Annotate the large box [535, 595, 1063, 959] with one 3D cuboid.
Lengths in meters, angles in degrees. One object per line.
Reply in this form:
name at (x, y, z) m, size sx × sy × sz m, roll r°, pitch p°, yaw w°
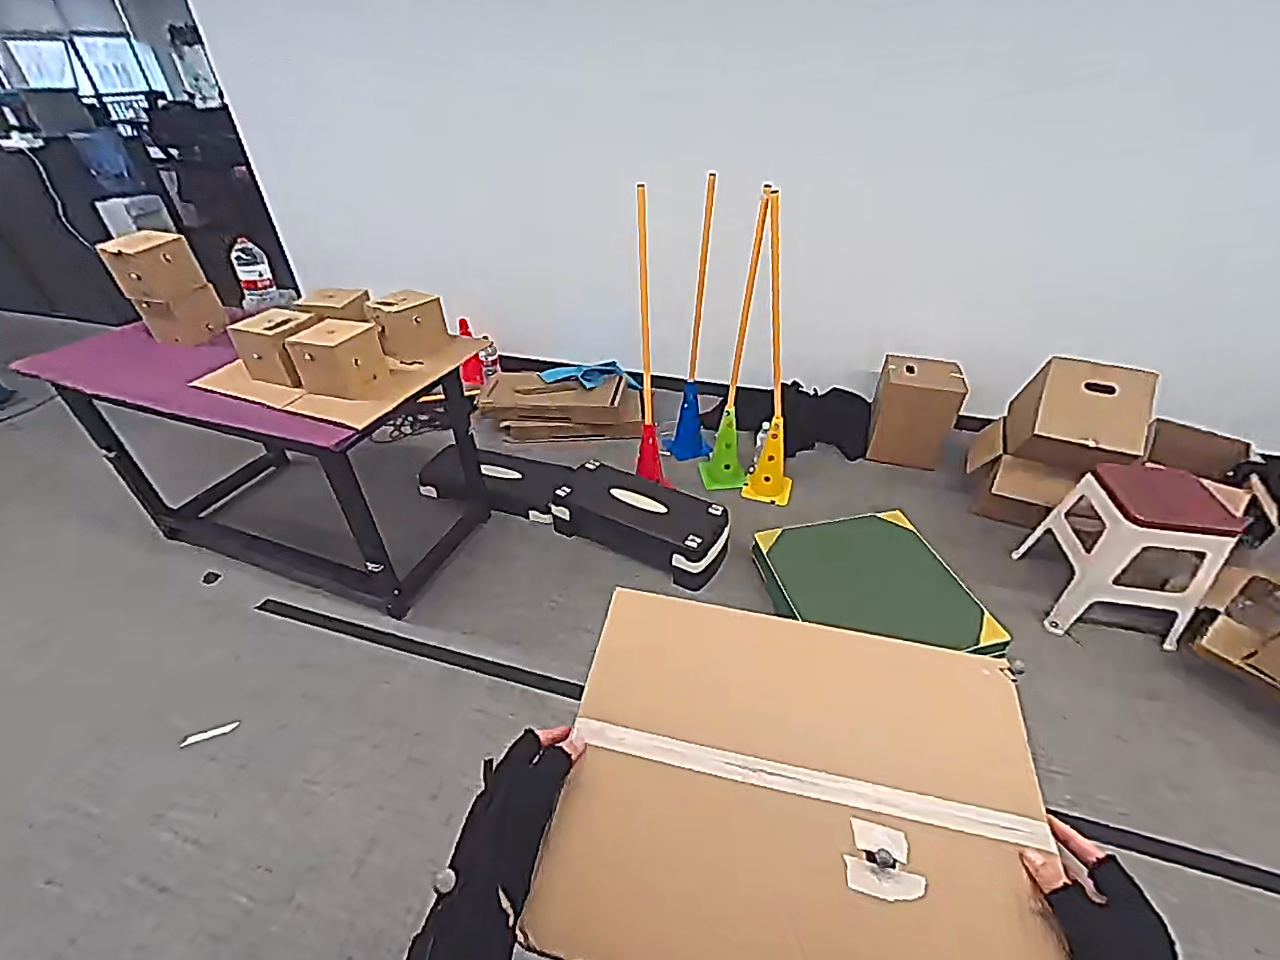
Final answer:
large box at (0.141, 0.368, 0.598) m, size 0.408 × 0.320 × 0.320 m, roll 9°, pitch 48°, yaw 10°
